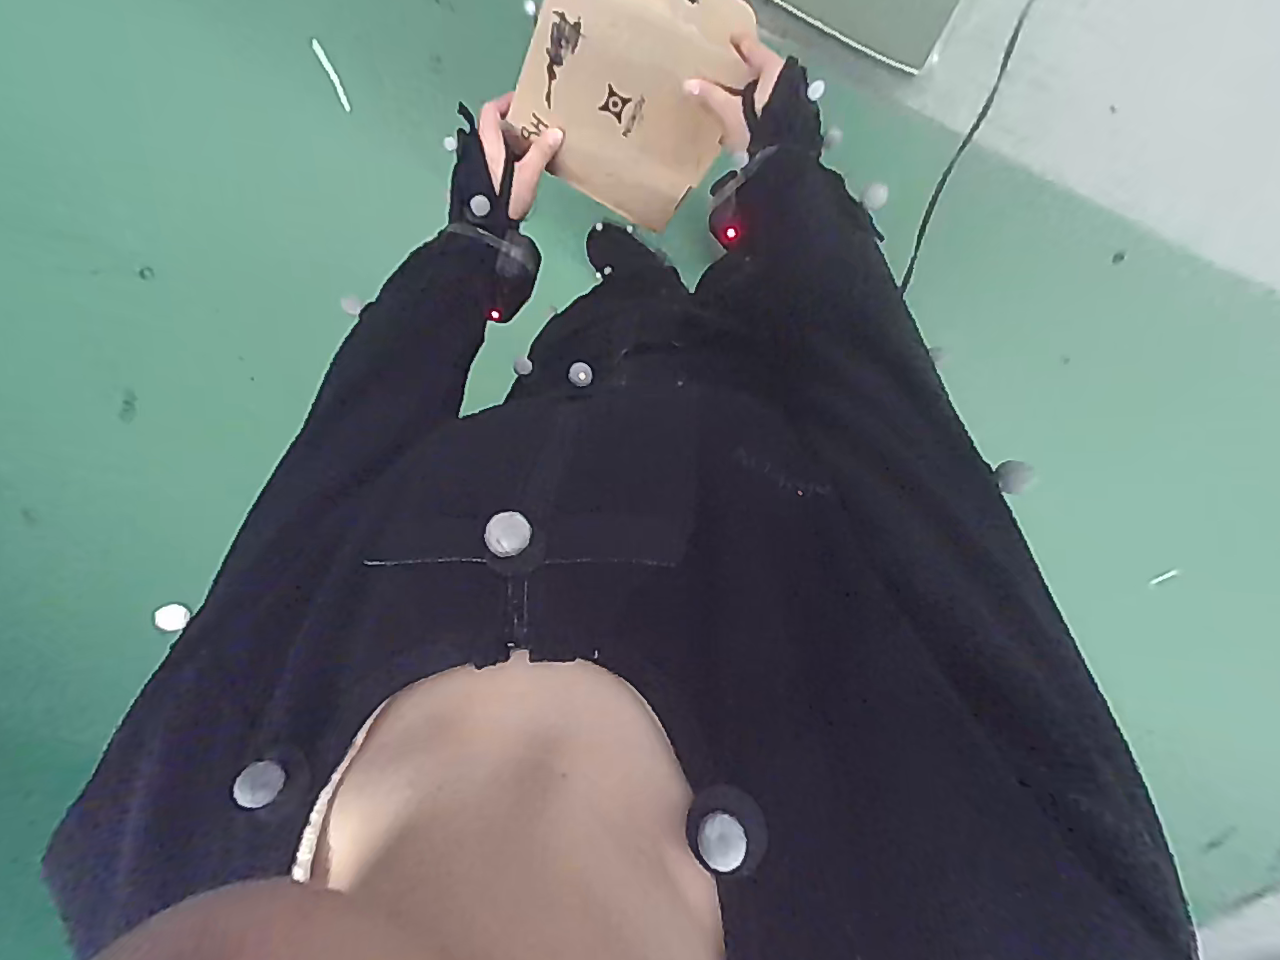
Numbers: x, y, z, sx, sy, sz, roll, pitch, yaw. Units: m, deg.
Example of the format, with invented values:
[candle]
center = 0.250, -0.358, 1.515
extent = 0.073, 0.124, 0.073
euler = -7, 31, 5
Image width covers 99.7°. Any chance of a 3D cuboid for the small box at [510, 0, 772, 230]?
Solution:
[small box]
center = 0.001, -0.388, 0.512
extent = 0.179, 0.176, 0.168
euler = 22, 141, -22
